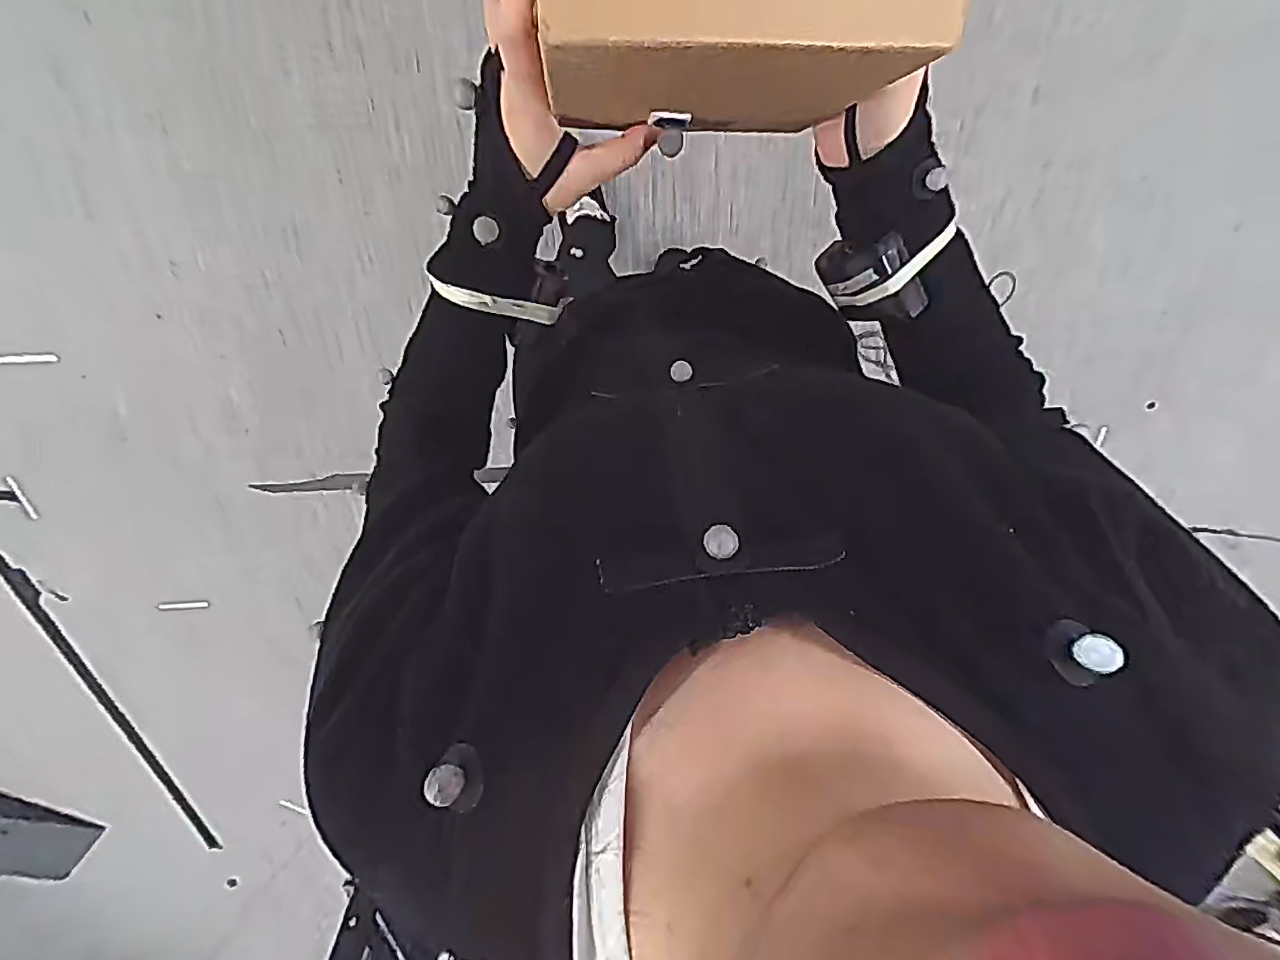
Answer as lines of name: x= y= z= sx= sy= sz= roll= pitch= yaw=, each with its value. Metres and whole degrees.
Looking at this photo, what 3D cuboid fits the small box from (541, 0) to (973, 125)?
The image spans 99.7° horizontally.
small box: x=0.035 y=-0.280 z=0.240 sx=0.168 sy=0.176 sz=0.179 roll=-3 pitch=114 yaw=-5
